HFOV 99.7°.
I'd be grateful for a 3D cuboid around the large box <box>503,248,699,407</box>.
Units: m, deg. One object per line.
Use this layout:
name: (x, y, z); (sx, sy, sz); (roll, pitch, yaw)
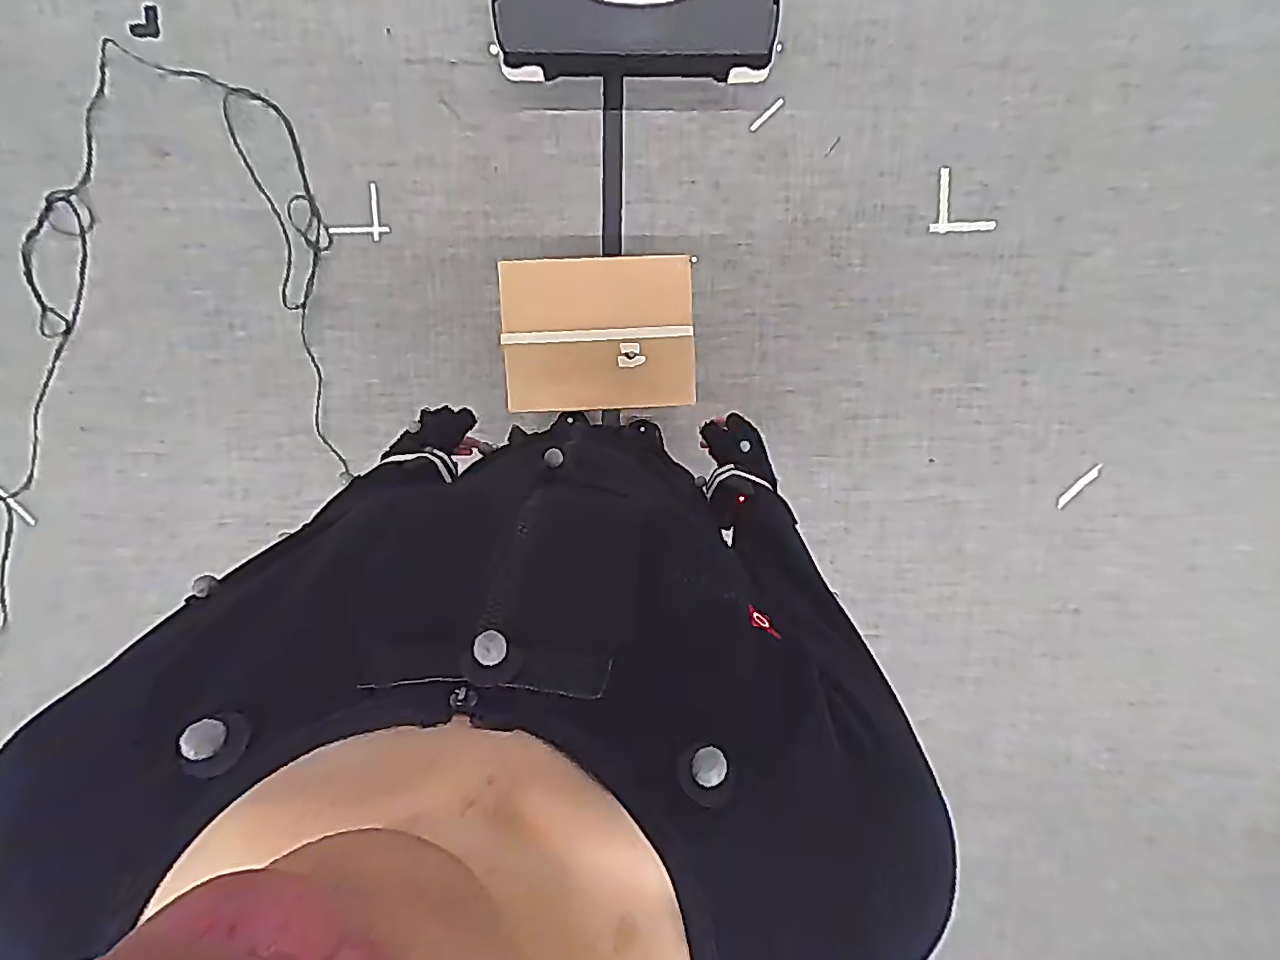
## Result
large box: (-0.085, -0.341, 1.291); (0.408, 0.320, 0.320); (-3, 98, -2)
